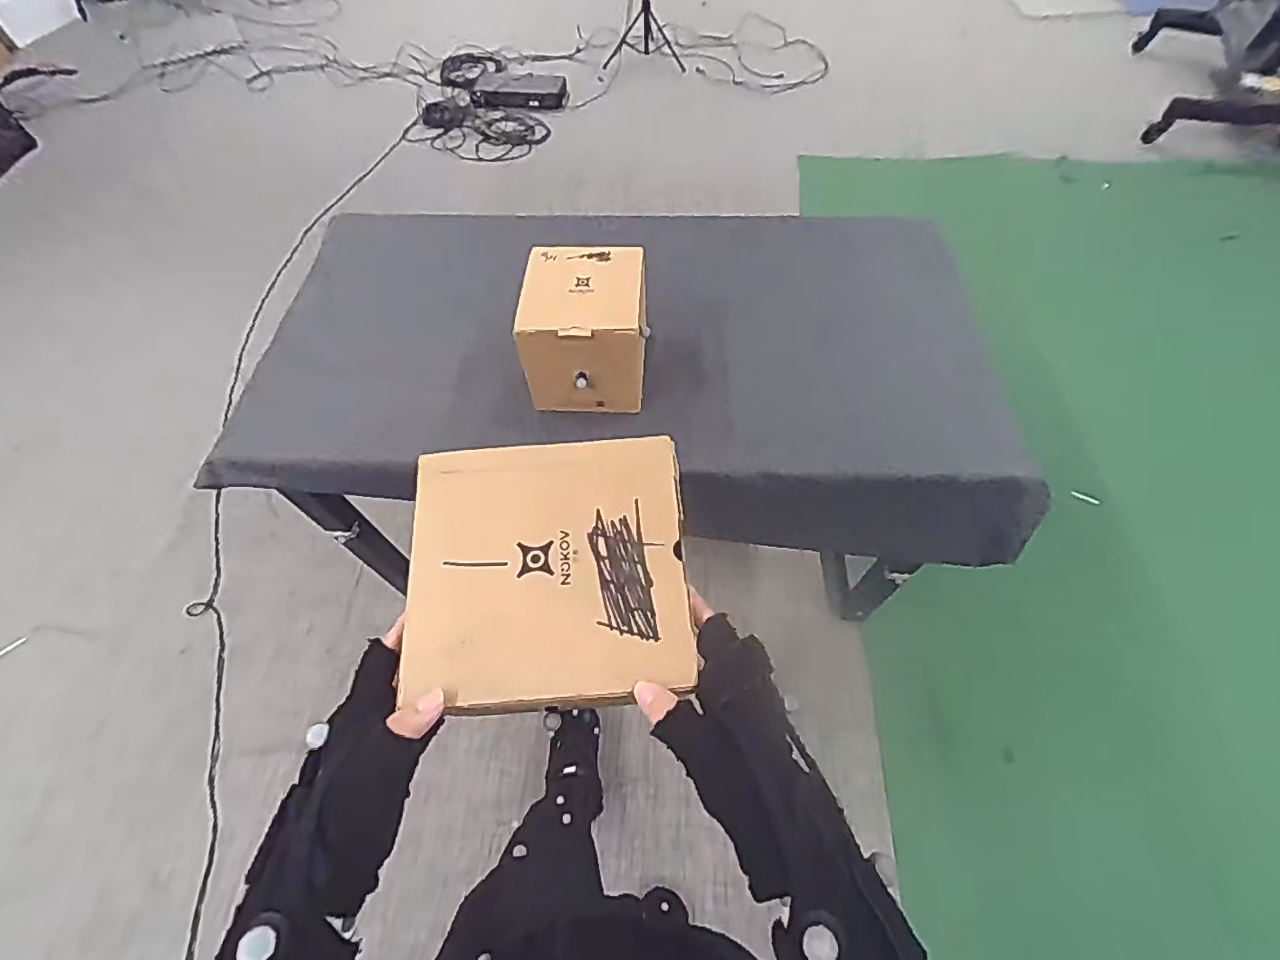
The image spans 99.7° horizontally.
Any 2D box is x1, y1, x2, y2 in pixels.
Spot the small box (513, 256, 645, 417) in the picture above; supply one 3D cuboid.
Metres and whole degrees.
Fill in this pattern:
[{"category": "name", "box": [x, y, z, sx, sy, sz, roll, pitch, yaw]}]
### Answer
[{"category": "small box", "box": [-0.079, -0.211, 0.815, 0.168, 0.176, 0.179, 2, 59, 3]}]
